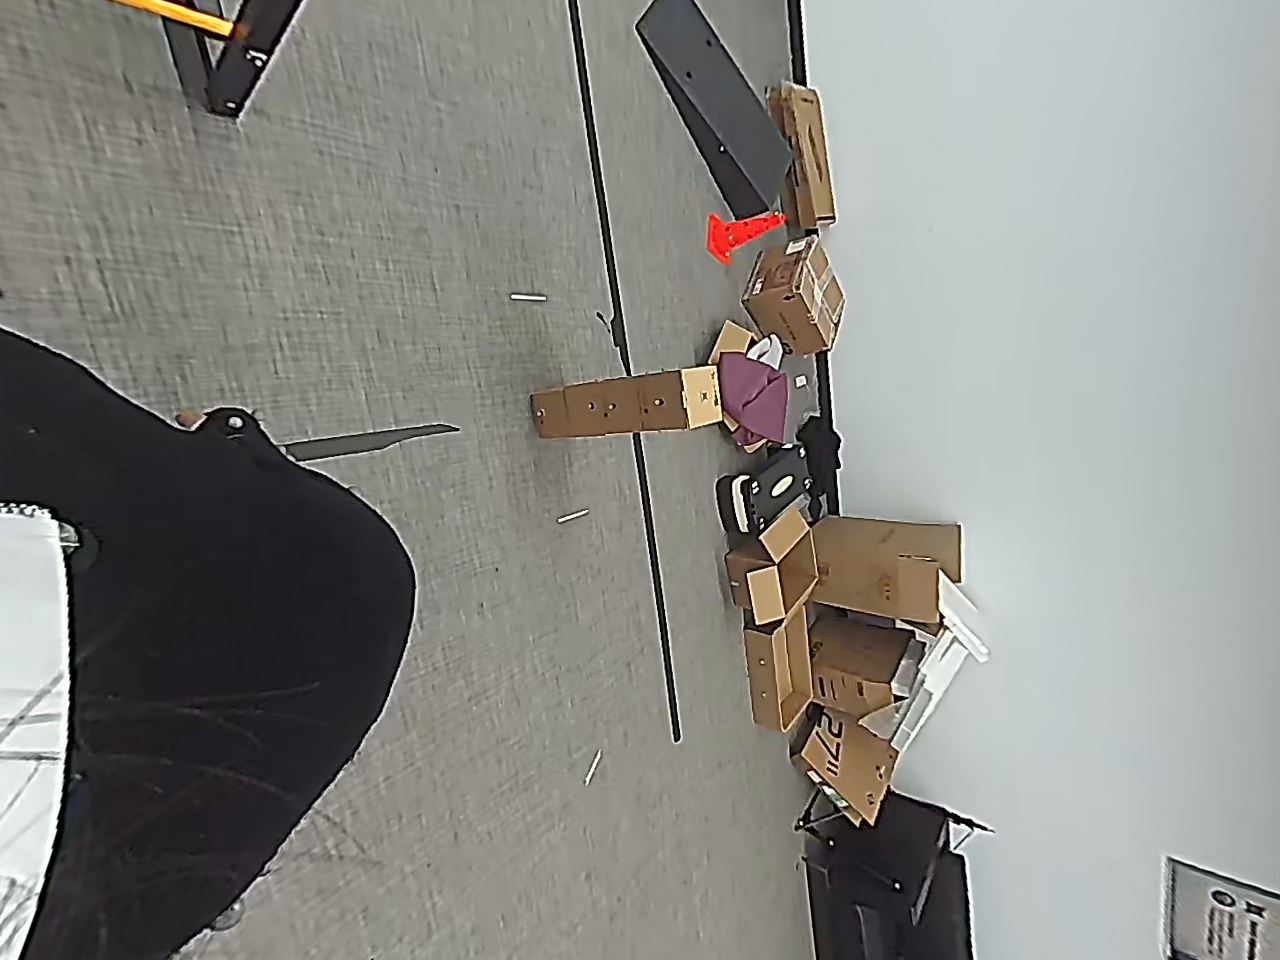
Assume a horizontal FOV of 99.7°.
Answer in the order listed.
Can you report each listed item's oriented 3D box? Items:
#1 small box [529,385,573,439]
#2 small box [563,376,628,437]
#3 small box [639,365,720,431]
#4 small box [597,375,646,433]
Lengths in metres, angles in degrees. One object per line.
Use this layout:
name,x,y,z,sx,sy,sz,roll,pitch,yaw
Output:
small box,-0.261,-0.246,1.910,0.179,0.176,0.168,-25,109,-44
small box,-0.137,-0.244,1.802,0.168,0.176,0.179,-19,105,-47
small box,0.110,-0.239,1.585,0.179,0.176,0.168,-18,104,-46
small box,-0.011,-0.238,1.695,0.179,0.176,0.168,-15,101,-47
